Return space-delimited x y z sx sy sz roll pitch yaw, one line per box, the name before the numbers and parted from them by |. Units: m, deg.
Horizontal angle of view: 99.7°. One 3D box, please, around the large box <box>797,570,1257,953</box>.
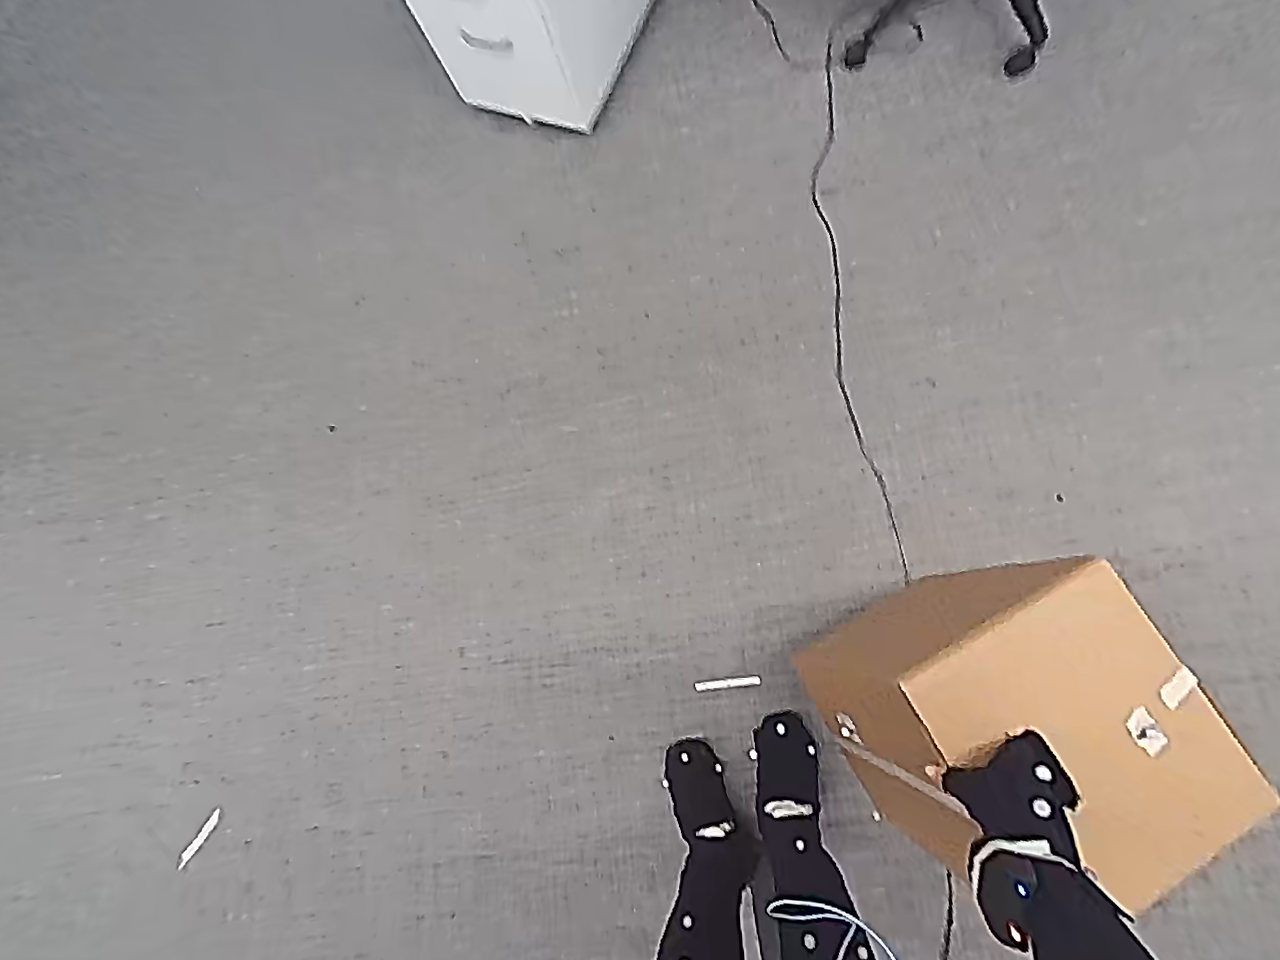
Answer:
large box | 0.498 0.353 0.808 0.320 0.408 0.320 -27 78 -7
